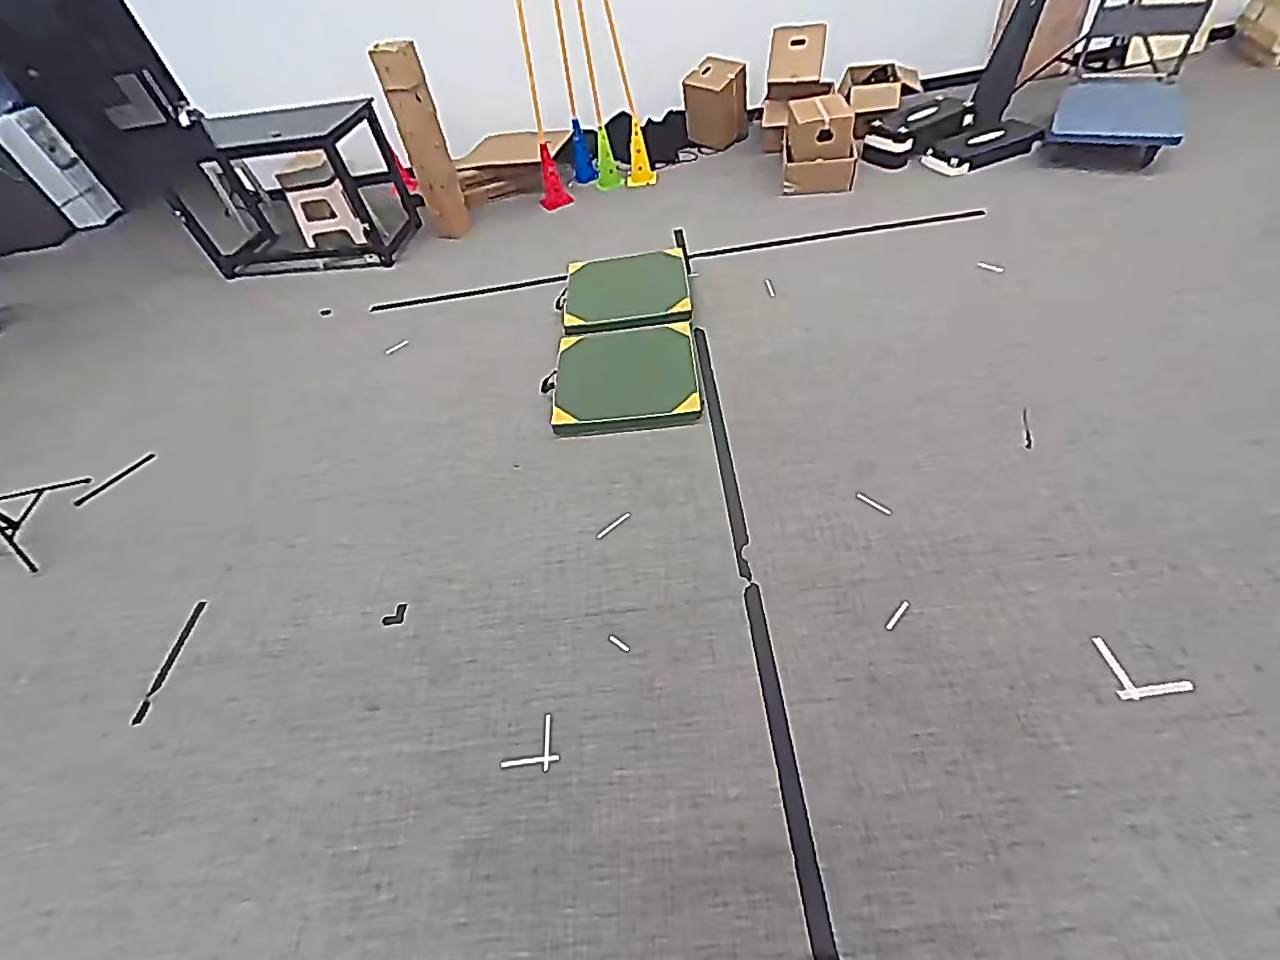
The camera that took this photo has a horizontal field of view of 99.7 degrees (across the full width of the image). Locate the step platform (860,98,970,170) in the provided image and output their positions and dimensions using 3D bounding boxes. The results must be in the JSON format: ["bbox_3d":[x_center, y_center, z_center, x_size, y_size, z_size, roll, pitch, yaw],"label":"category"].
[{"bbox_3d":[1.729,-2.182,3.397,0.684,0.204,0.286,-30,52,-15],"label":"step platform"}]
